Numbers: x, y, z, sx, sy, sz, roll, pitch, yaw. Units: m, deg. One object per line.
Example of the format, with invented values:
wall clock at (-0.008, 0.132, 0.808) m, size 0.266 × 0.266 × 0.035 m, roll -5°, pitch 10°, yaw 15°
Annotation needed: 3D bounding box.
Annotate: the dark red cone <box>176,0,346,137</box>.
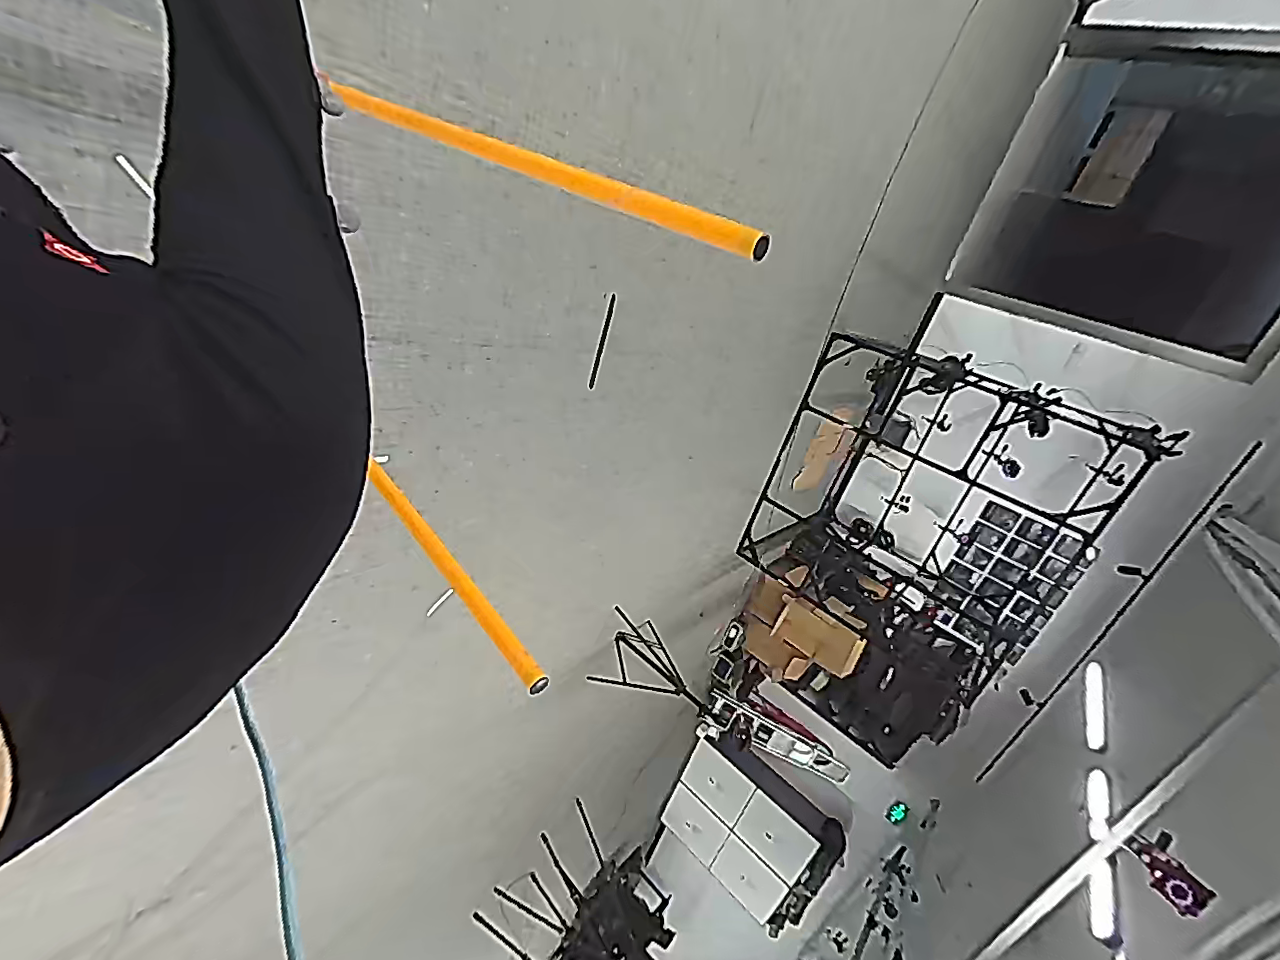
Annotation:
dark red cone at (-0.631, -0.717, 0.950) m, size 0.201 × 0.394 × 0.202 m, roll -15°, pitch 130°, yaw -52°
